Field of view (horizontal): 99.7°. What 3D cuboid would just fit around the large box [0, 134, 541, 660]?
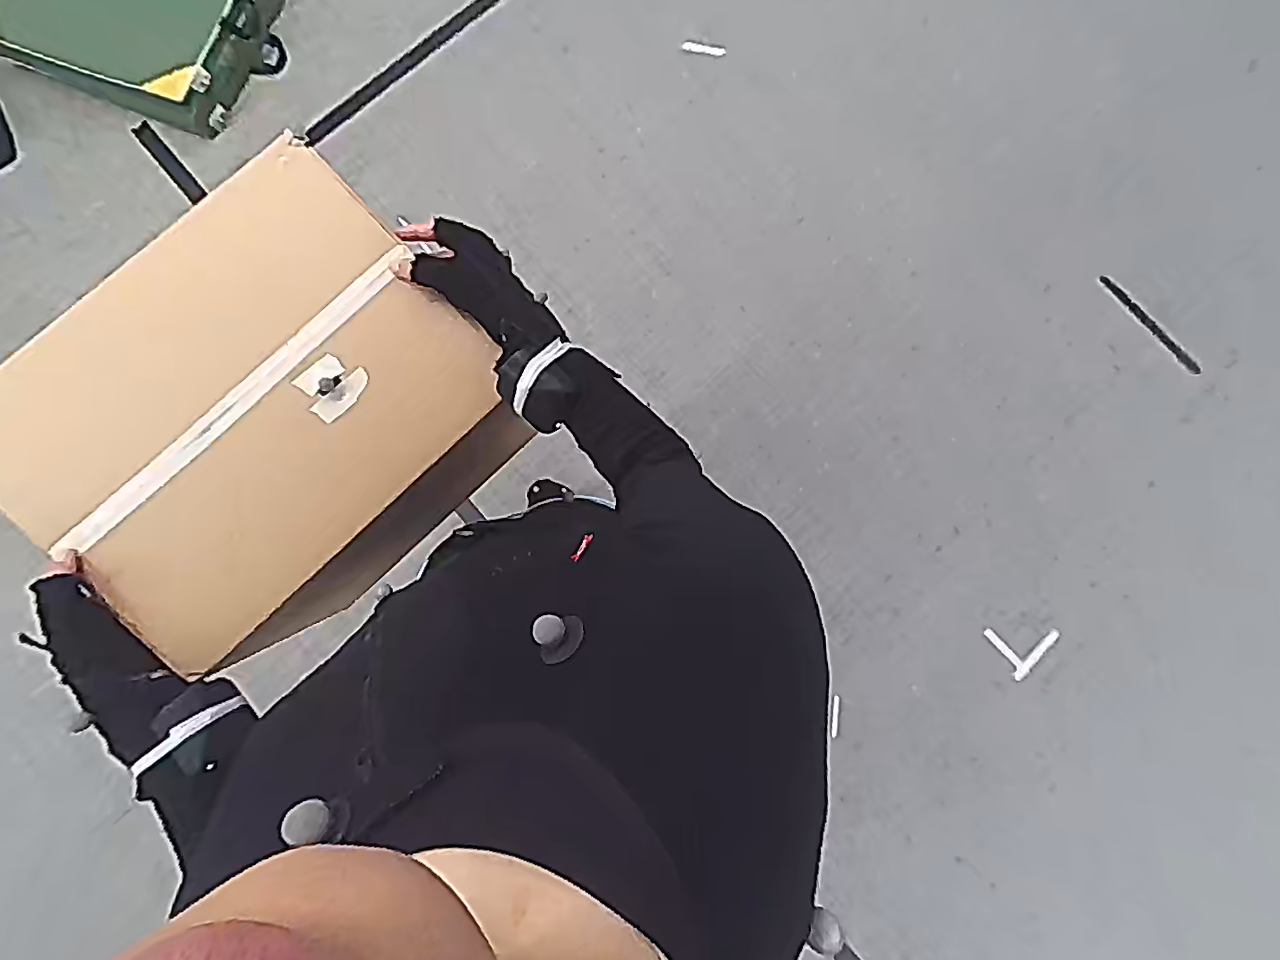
[{"bbox_3d":[-0.373,-0.075,0.644,0.408,0.320,0.320,-45,94,-6],"label":"large box"}]
